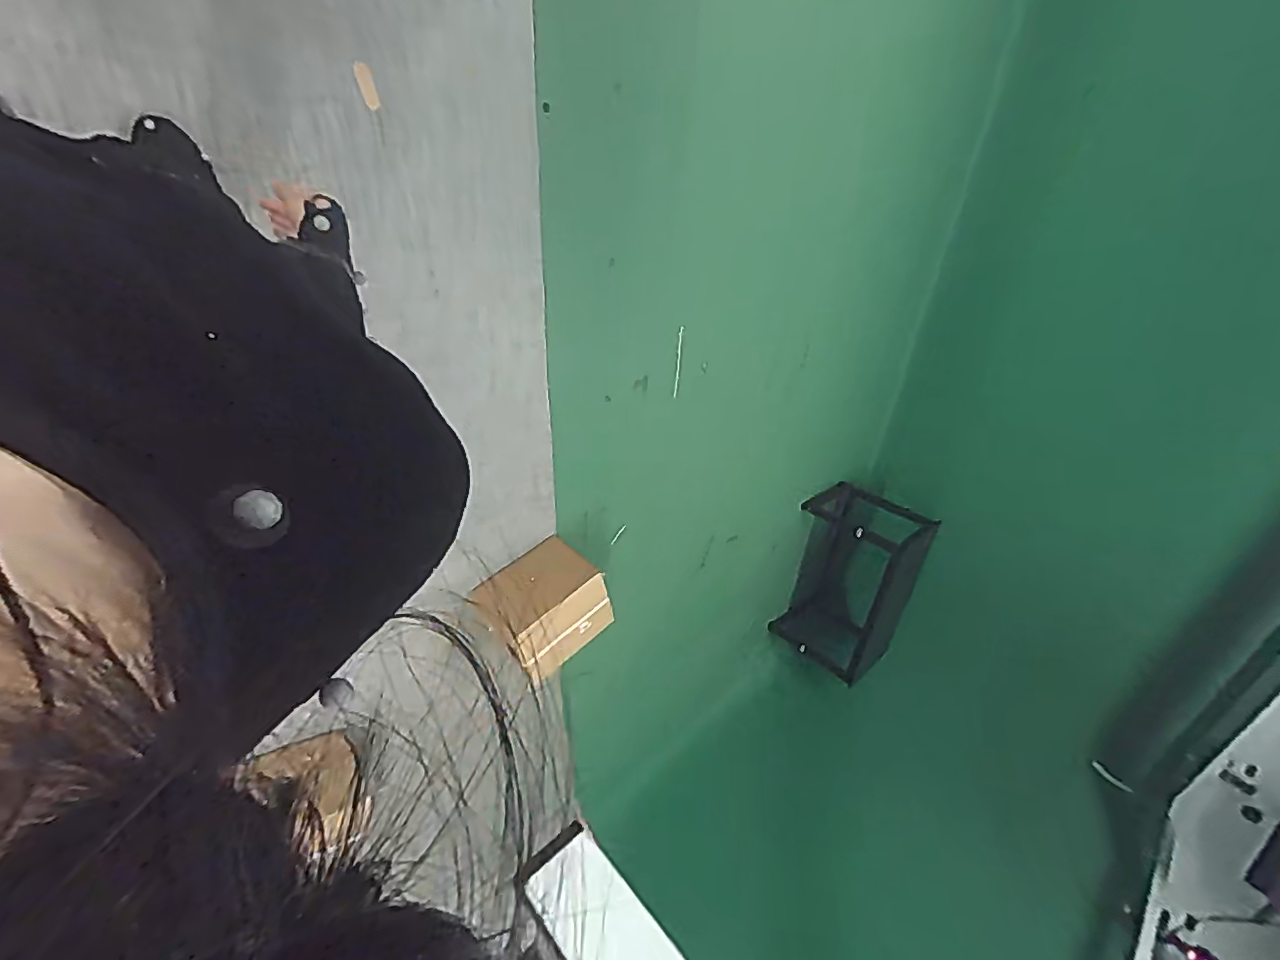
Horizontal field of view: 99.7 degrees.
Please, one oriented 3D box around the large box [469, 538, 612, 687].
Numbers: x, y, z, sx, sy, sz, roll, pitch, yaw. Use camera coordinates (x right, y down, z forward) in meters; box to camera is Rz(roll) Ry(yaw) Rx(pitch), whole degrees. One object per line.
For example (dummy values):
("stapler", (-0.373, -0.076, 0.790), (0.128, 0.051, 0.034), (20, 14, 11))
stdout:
("large box", (-0.380, 0.504, 2.111), (0.408, 0.320, 0.320), (-36, 137, -28))
